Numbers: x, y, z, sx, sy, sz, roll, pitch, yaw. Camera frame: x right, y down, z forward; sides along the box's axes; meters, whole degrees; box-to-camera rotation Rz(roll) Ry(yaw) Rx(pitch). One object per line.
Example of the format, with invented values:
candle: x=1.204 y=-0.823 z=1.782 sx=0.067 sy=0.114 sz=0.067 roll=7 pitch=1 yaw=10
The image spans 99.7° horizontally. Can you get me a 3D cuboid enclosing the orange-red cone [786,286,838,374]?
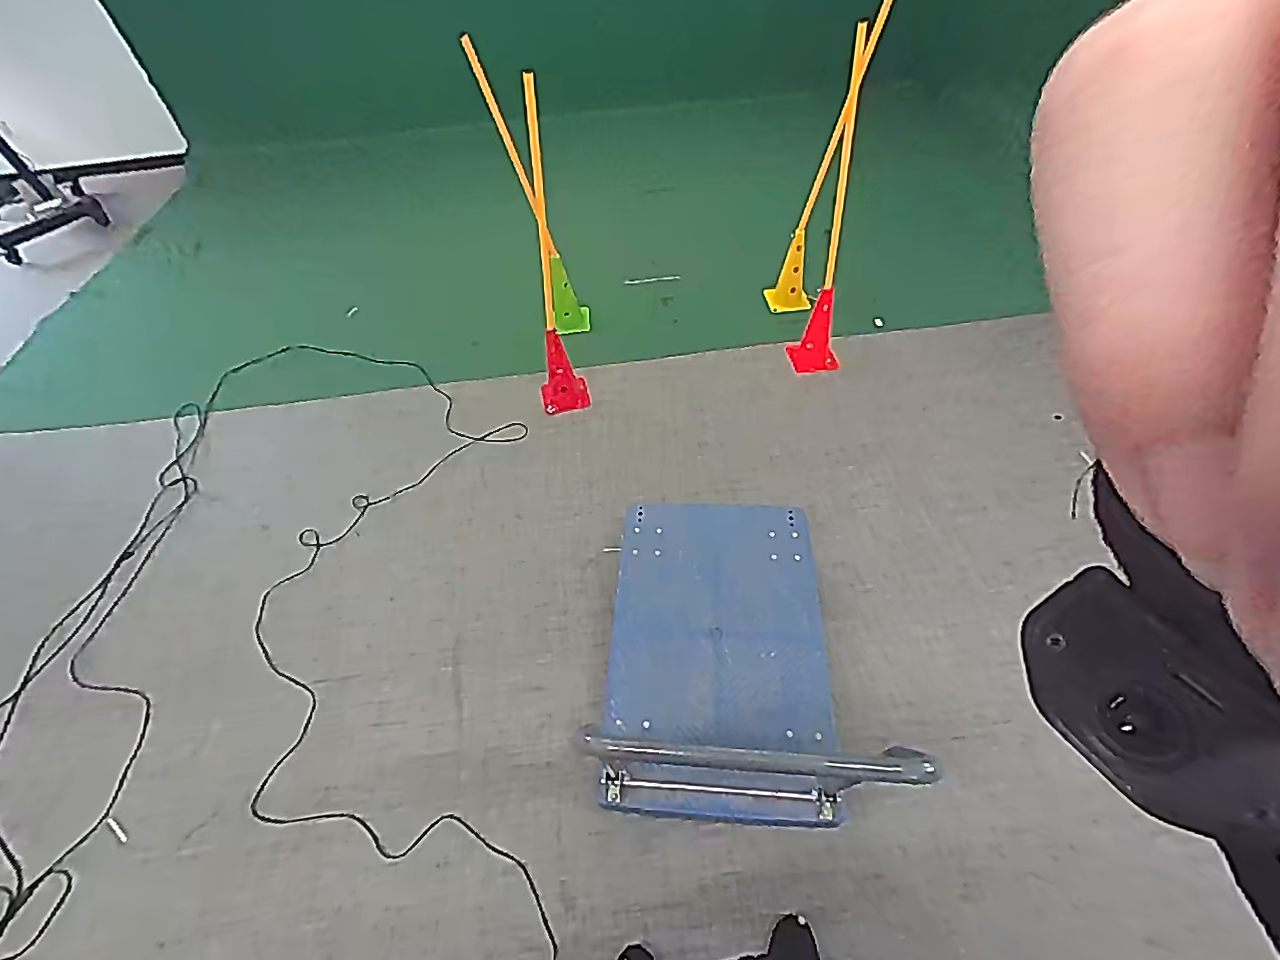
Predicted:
orange-red cone: x=0.761 y=-0.653 z=2.297 sx=0.198 sy=0.360 sz=0.199 roll=-6 pitch=49 yaw=-2

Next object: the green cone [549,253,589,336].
green cone: x=-0.369 y=-0.900 z=2.578 sx=0.200 sy=0.368 sz=0.202 roll=-7 pitch=50 yaw=-1
